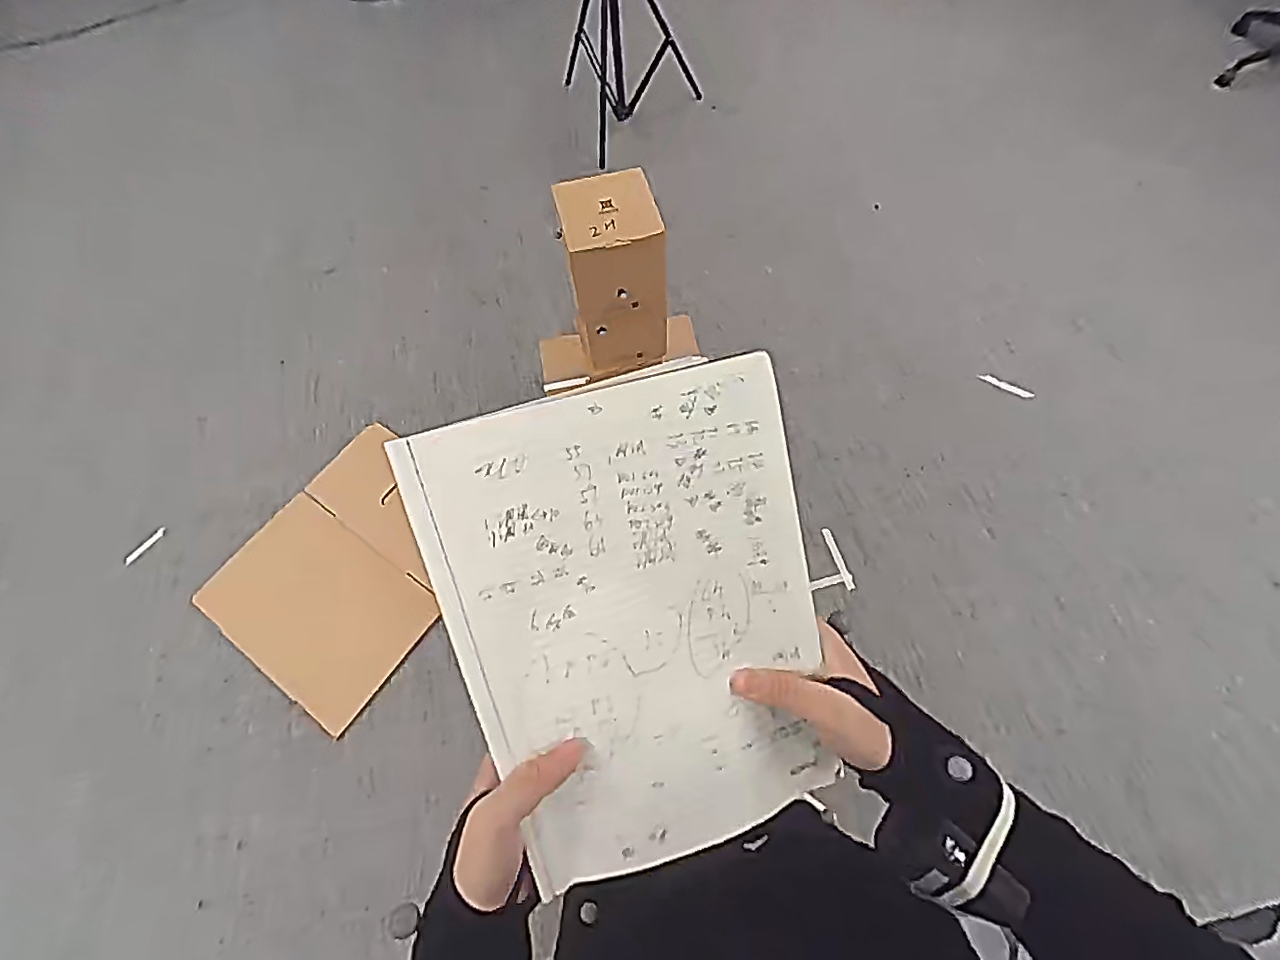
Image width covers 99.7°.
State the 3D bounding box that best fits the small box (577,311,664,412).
[{"bbox_3d":[-0.042,-0.280,1.282,0.168,0.176,0.179,-15,65,-5],"label":"small box"}]

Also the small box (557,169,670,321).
[{"bbox_3d":[-0.046,-0.423,0.985,0.168,0.176,0.179,-13,65,-3],"label":"small box"}]
